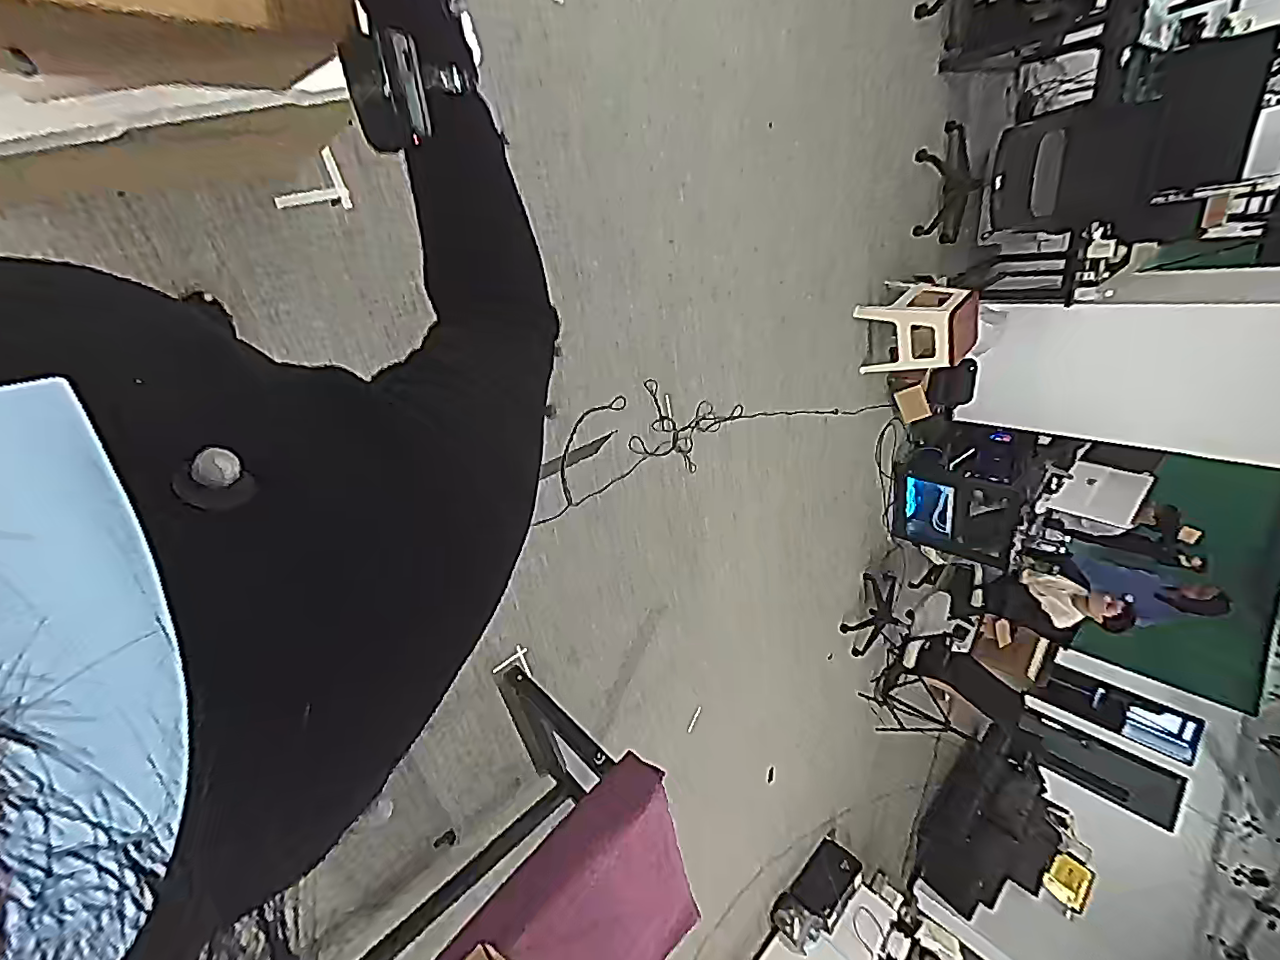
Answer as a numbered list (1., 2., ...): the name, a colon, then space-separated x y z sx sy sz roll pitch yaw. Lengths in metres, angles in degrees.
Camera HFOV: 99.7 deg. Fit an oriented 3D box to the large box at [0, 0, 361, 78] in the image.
1. large box: -0.452 -0.450 0.317 0.408 0.320 0.320 -23 125 -32
